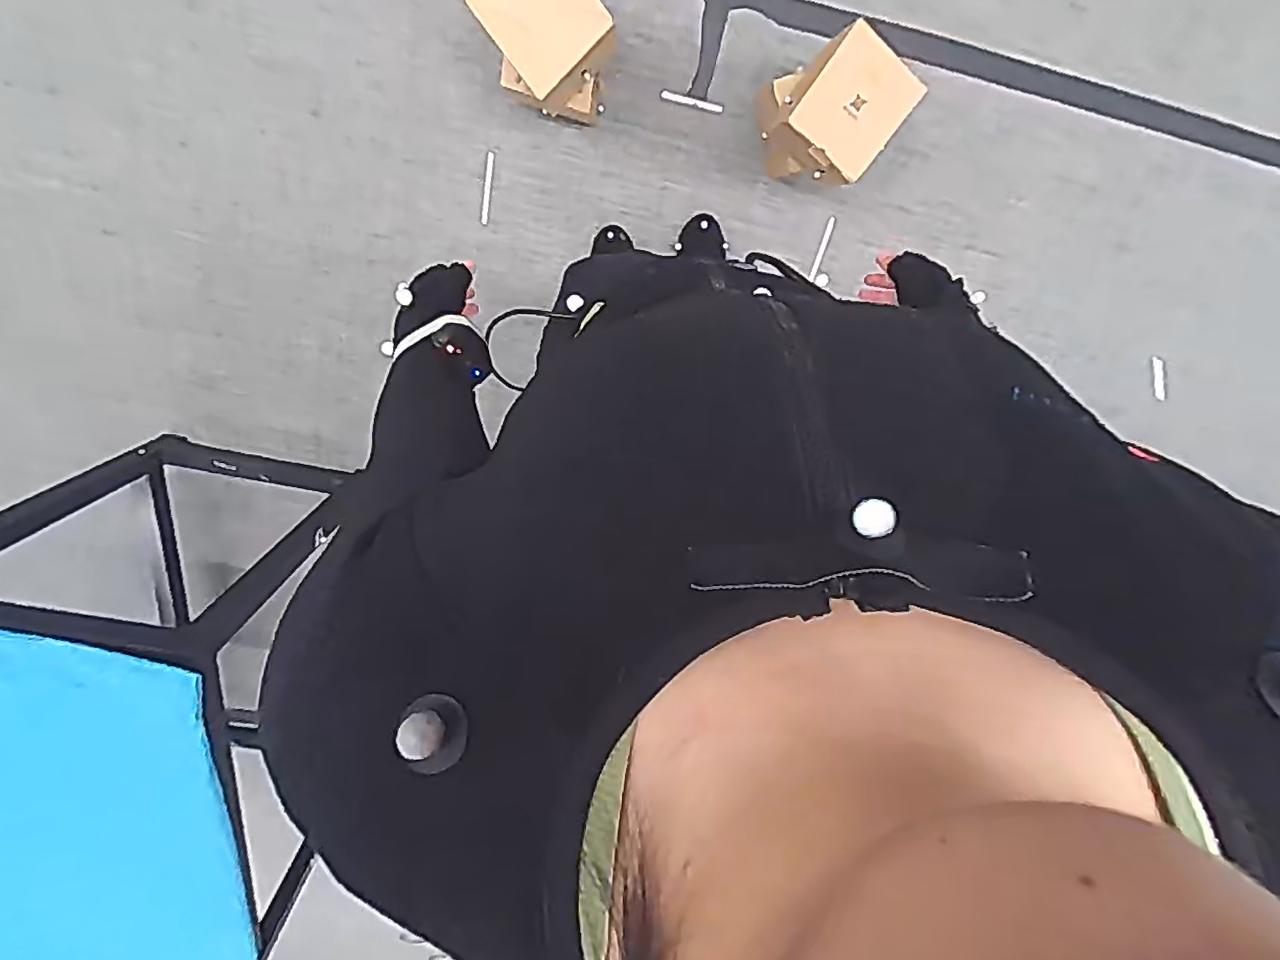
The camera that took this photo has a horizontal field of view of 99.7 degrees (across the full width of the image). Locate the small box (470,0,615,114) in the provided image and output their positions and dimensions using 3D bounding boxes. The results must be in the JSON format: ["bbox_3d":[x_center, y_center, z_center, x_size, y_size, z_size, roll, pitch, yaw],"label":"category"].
[{"bbox_3d":[-0.162,-0.777,0.924,0.168,0.176,0.179,-37,111,16],"label":"small box"}]

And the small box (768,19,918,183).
[{"bbox_3d":[0.355,-0.674,0.991,0.168,0.176,0.179,32,111,-18],"label":"small box"}]

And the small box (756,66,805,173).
[{"bbox_3d":[0.350,-0.759,1.131,0.179,0.176,0.168,-16,118,7],"label":"small box"}]

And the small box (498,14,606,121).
[{"bbox_3d":[-0.167,-0.841,1.079,0.179,0.176,0.168,14,115,-7],"label":"small box"}]
